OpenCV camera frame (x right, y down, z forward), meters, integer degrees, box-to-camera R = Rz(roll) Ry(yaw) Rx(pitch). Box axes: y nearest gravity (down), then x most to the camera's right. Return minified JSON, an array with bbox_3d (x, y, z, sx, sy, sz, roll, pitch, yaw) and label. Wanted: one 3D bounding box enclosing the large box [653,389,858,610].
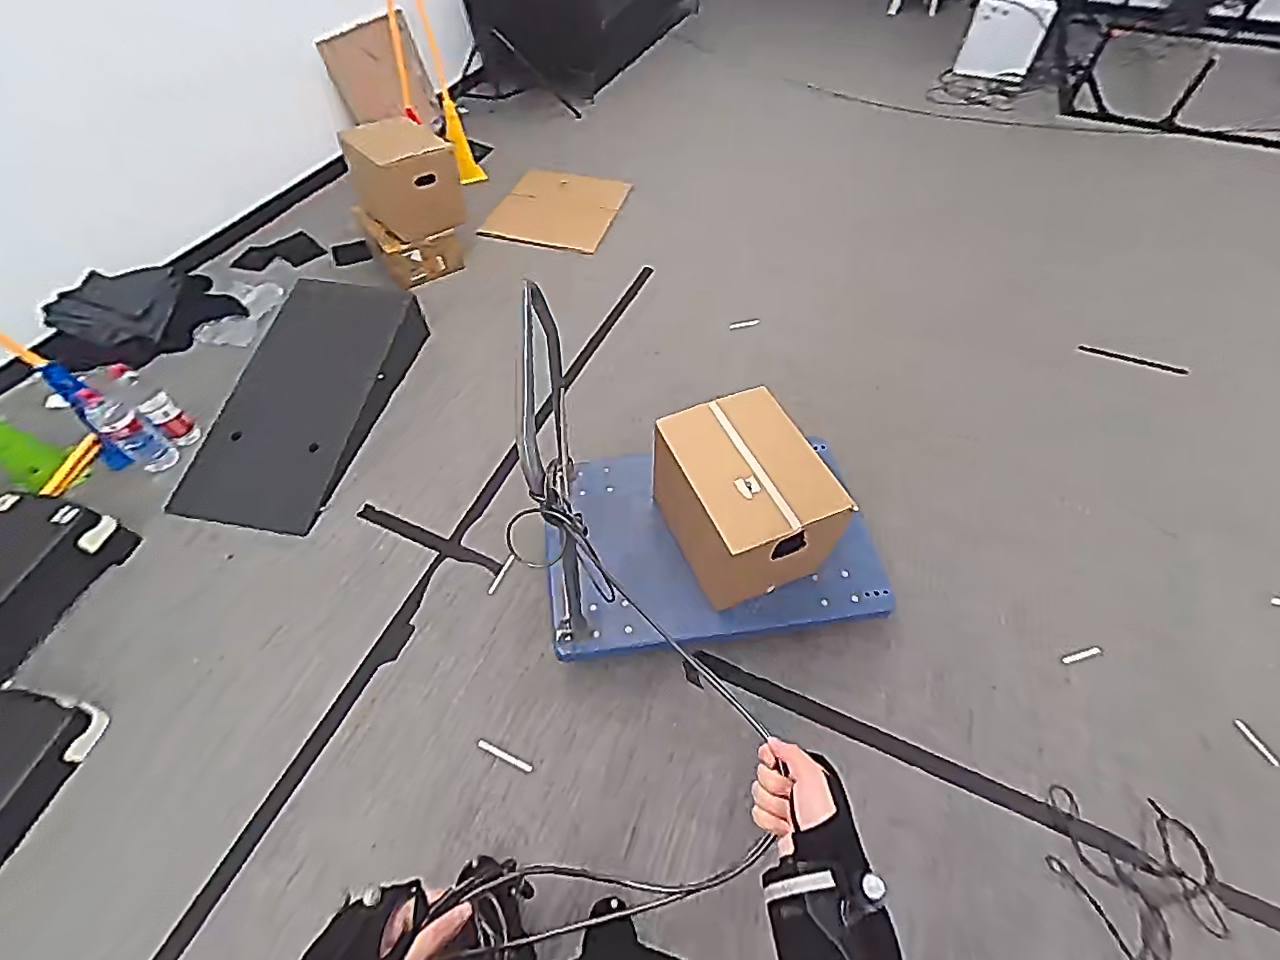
[{"bbox_3d":[0.254,0.047,1.360,0.320,0.320,0.408,-19,58,-12],"label":"large box"}]
